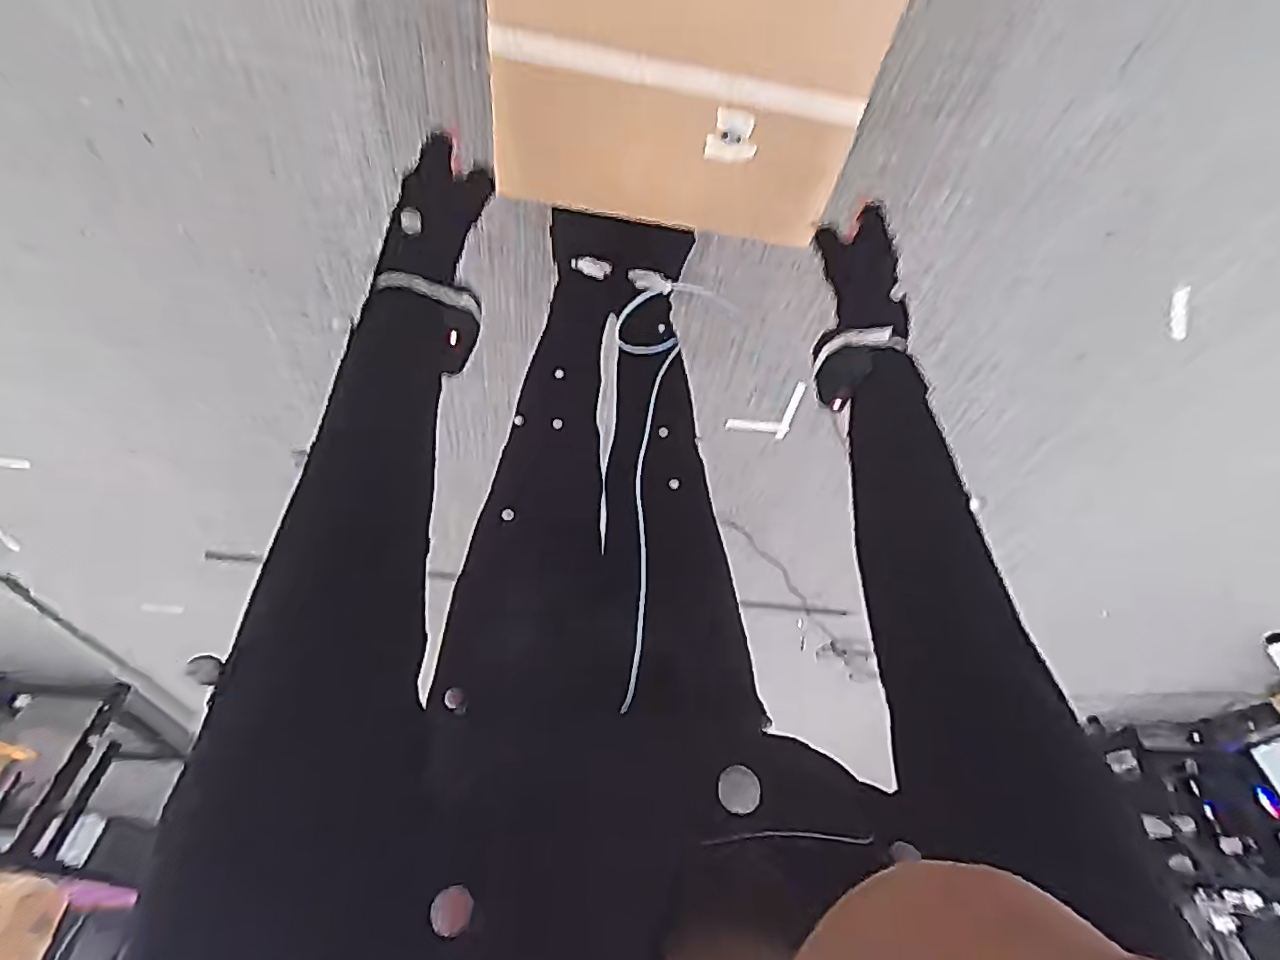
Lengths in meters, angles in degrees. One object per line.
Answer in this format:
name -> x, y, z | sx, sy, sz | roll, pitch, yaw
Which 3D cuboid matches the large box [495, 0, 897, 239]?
large box -> 0.045, -0.549, 0.682 | 0.408, 0.320, 0.320 | 6, 139, -8
